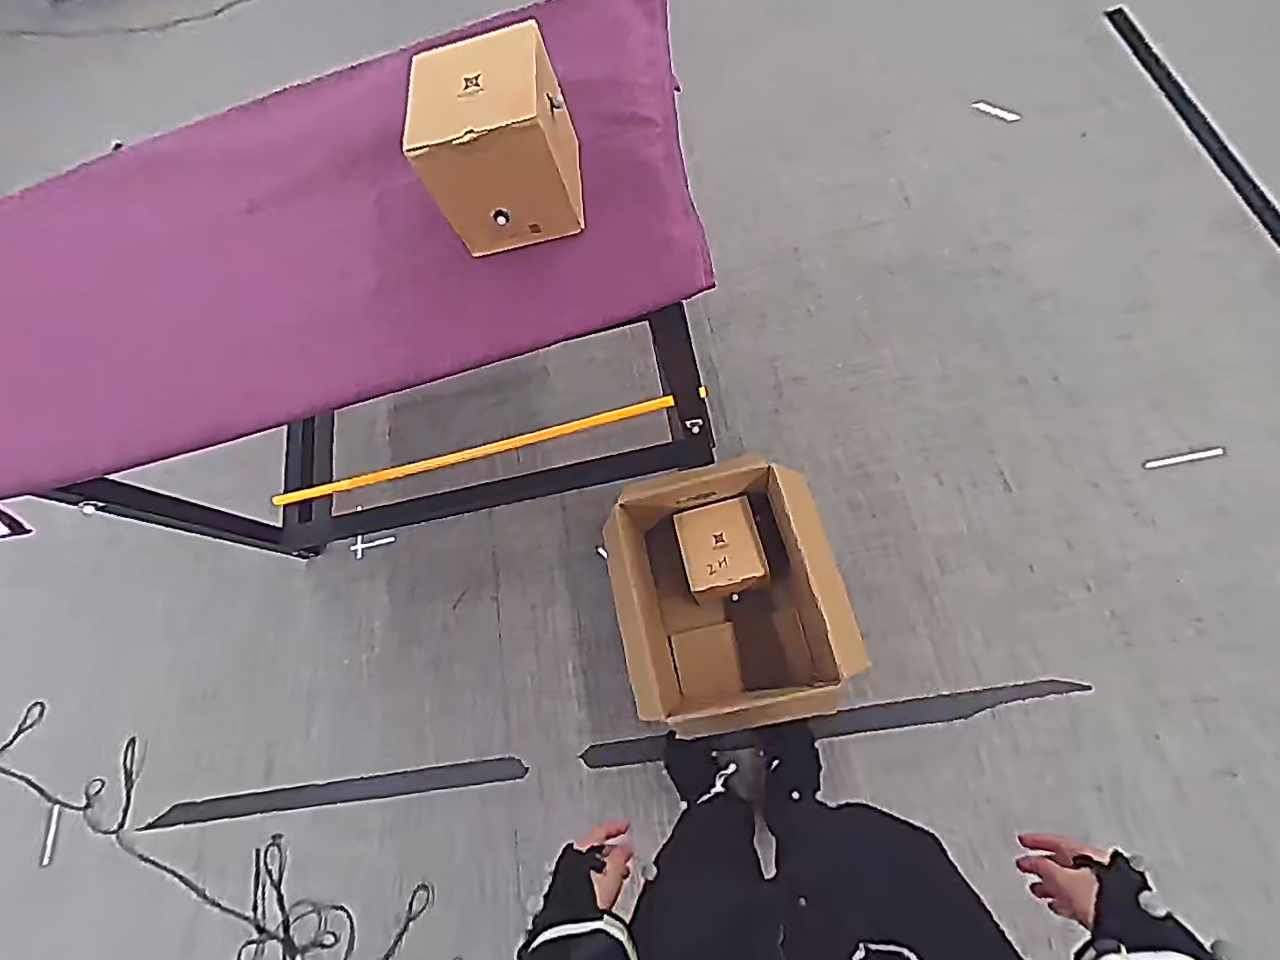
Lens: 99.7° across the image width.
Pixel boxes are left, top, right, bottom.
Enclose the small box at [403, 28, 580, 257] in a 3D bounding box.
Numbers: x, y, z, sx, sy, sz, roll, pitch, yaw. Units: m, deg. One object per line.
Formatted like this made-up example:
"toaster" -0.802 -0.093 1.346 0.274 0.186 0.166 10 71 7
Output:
"small box" -0.184 -0.433 0.714 0.168 0.176 0.179 -10 69 10
